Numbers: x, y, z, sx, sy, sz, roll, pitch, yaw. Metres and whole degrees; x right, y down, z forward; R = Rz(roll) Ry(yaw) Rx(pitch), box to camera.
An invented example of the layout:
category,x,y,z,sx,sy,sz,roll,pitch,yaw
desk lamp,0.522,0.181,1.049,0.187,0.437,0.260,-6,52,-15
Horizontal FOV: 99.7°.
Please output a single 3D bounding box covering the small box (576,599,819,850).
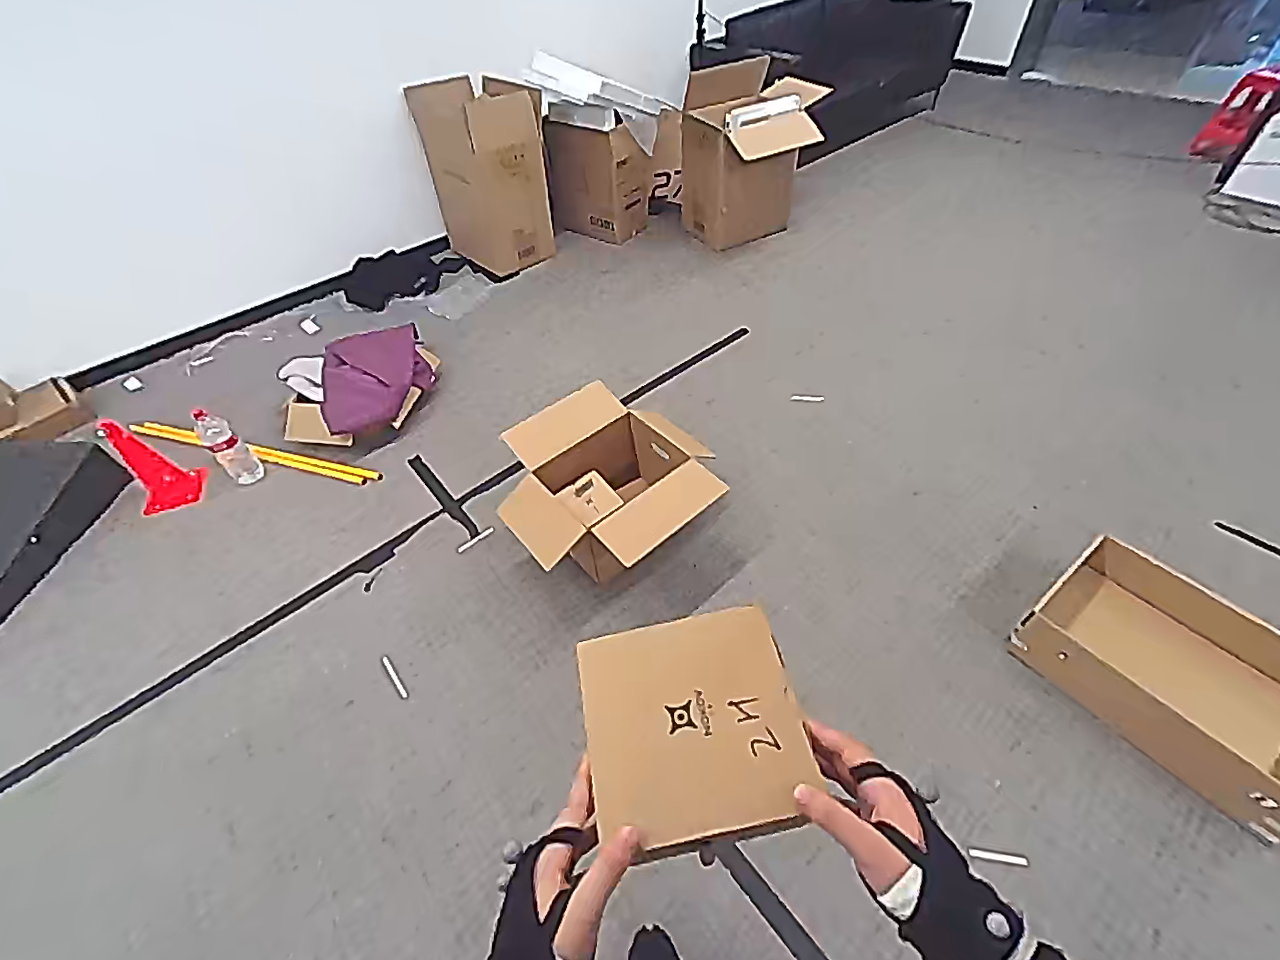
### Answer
category,x,y,z,sx,sy,sz,roll,pitch,yaw
small box,0.047,0.238,0.516,0.179,0.176,0.168,-12,54,-2
